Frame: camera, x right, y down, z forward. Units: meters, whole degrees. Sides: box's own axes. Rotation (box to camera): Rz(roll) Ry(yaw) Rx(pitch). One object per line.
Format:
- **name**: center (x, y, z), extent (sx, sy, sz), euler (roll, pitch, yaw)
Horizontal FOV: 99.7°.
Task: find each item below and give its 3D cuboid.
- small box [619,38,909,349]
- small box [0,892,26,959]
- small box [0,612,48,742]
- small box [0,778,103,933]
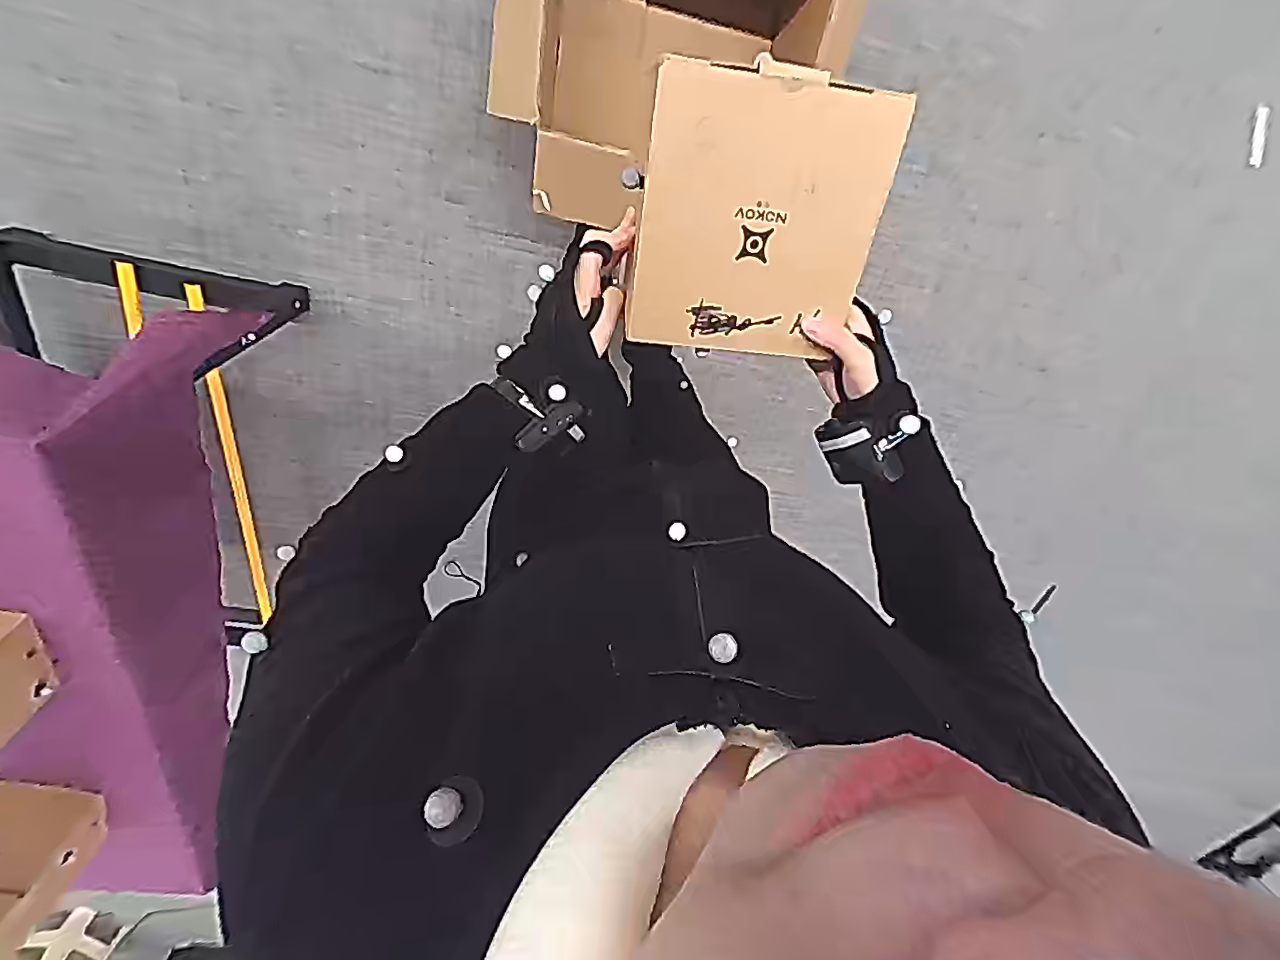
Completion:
- **small box**: center (0.074, -0.226, 0.441), extent (0.168, 0.176, 0.179), euler (4, 123, -7)
- **small box**: center (-1.078, 0.732, 0.799), extent (0.168, 0.176, 0.179), euler (20, 118, -18)
- **small box**: center (-0.943, 0.275, 0.704), extent (0.179, 0.176, 0.168), euler (13, 121, -11)
- **small box**: center (-1.089, 0.648, 0.939), extent (0.179, 0.176, 0.168), euler (20, 119, -16)
